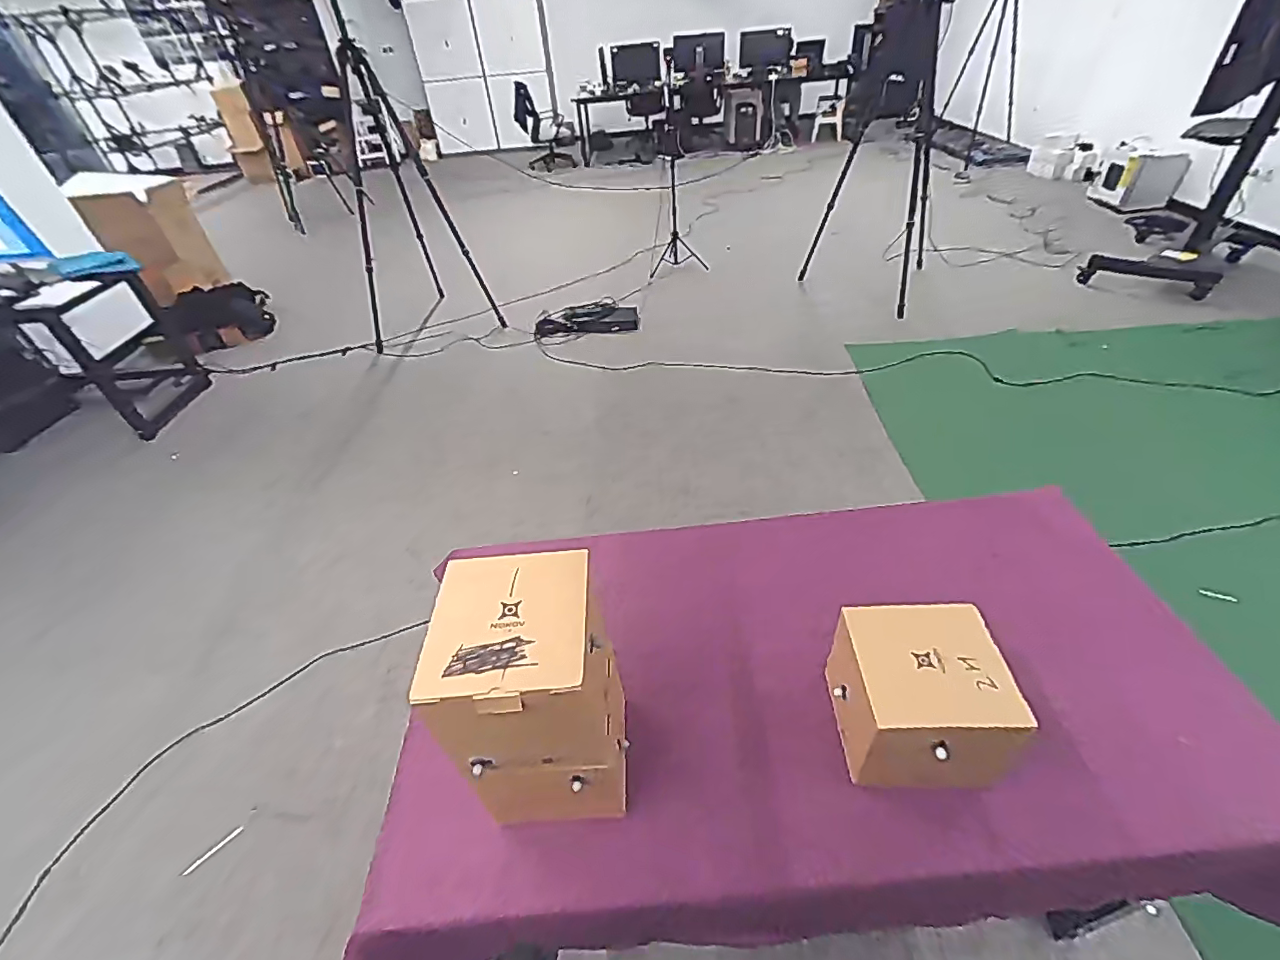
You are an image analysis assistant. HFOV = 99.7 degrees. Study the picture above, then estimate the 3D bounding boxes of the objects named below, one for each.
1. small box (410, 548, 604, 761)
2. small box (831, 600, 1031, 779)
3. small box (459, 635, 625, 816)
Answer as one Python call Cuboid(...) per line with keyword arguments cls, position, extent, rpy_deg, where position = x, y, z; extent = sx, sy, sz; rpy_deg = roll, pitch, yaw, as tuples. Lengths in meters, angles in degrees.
Cuboid(cls="small box", position=(-0.132, 0.203, 0.621), extent=(0.168, 0.176, 0.179), rpy_deg=(-5, 40, 1))
Cuboid(cls="small box", position=(0.359, 0.277, 0.713), extent=(0.179, 0.176, 0.168), rpy_deg=(-3, 42, 5))
Cuboid(cls="small box", position=(-0.116, 0.330, 0.724), extent=(0.179, 0.176, 0.168), rpy_deg=(-5, 41, 2))
